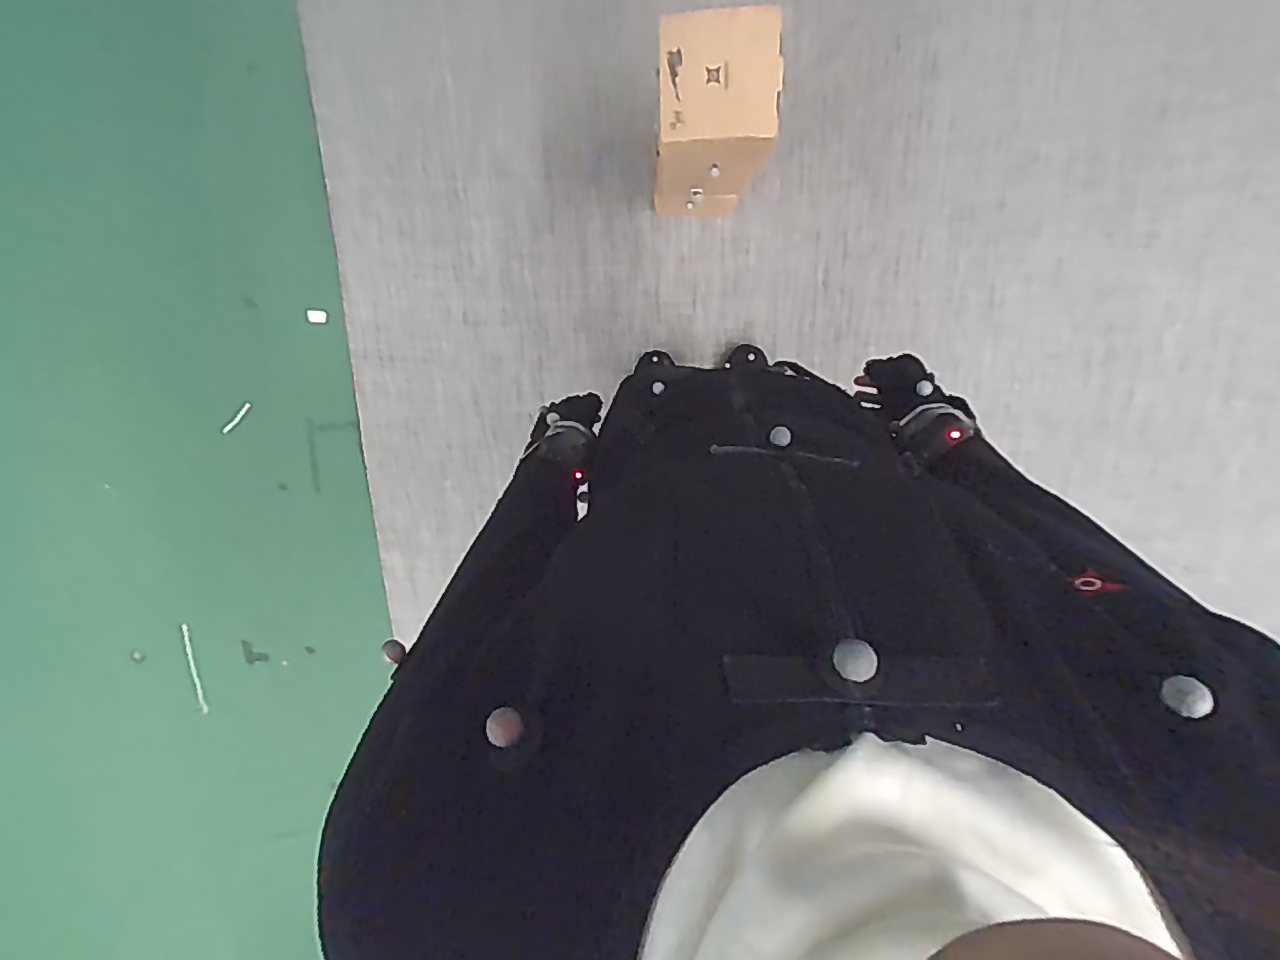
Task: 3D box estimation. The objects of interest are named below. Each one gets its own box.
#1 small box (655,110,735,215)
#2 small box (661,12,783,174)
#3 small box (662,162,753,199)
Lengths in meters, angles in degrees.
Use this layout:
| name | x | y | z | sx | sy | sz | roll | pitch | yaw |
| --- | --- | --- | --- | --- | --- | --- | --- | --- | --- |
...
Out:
| name | x | y | z | sx | sy | sz | roll | pitch | yaw |
| --- | --- | --- | --- | --- | --- | --- | --- | --- | --- |
| small box | 0.125 | -0.688 | 1.185 | 0.179 | 0.176 | 0.168 | 2 | 105 | 3 |
| small box | 0.123 | -0.608 | 0.870 | 0.179 | 0.176 | 0.168 | 1 | 104 | 5 |
| small box | 0.127 | -0.653 | 1.028 | 0.168 | 0.176 | 0.179 | 1 | 105 | 5 |
